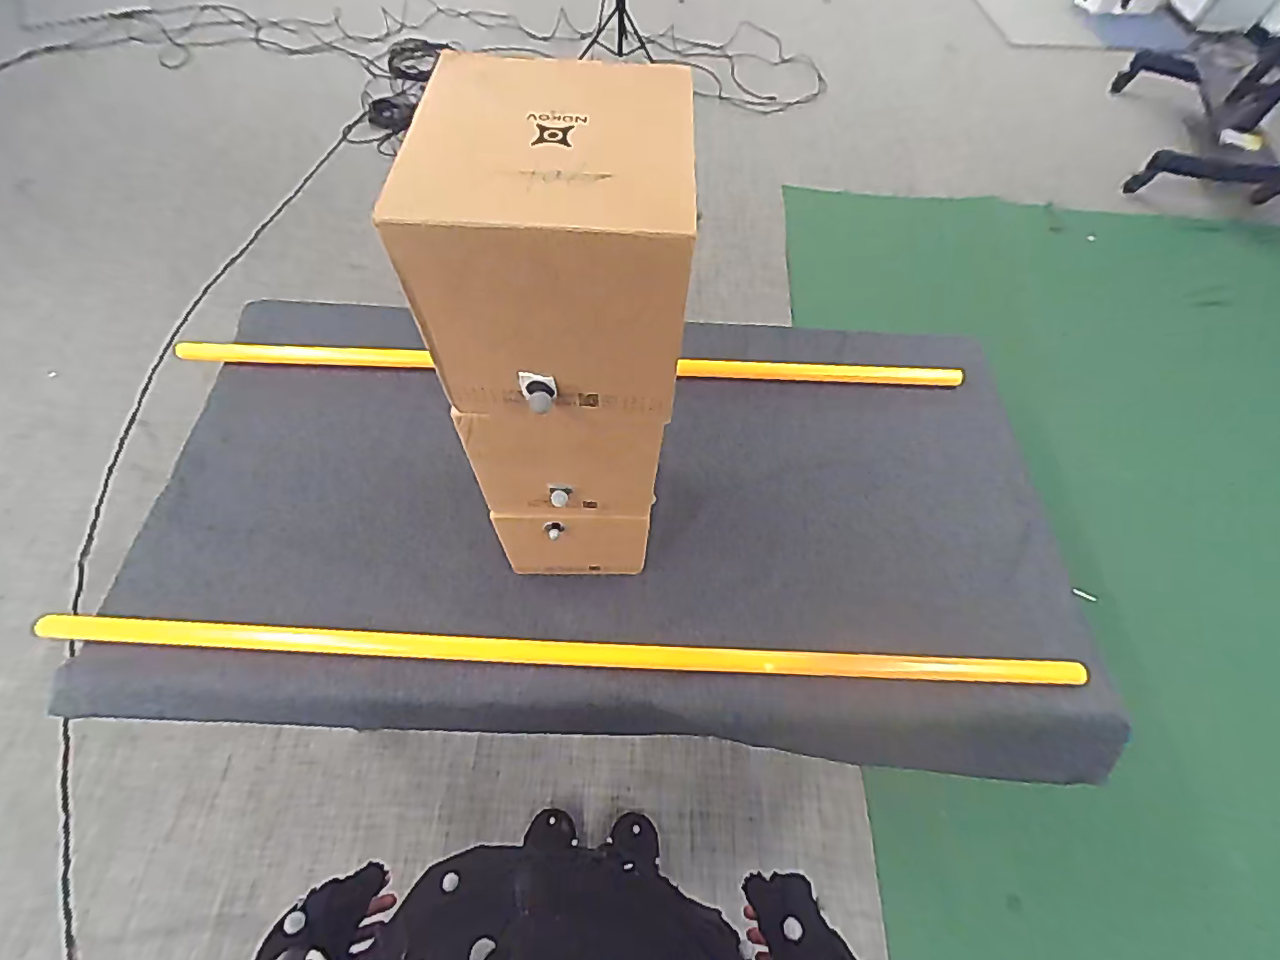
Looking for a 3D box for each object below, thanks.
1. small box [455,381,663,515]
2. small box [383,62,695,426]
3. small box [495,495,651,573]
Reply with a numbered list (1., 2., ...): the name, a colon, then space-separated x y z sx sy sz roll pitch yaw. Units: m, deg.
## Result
1. small box: -0.065 -0.082 0.531 0.168 0.176 0.179 2 61 -2
2. small box: -0.053 -0.160 0.390 0.168 0.176 0.179 1 61 0
3. small box: -0.073 0.003 0.671 0.168 0.176 0.179 0 60 -2
